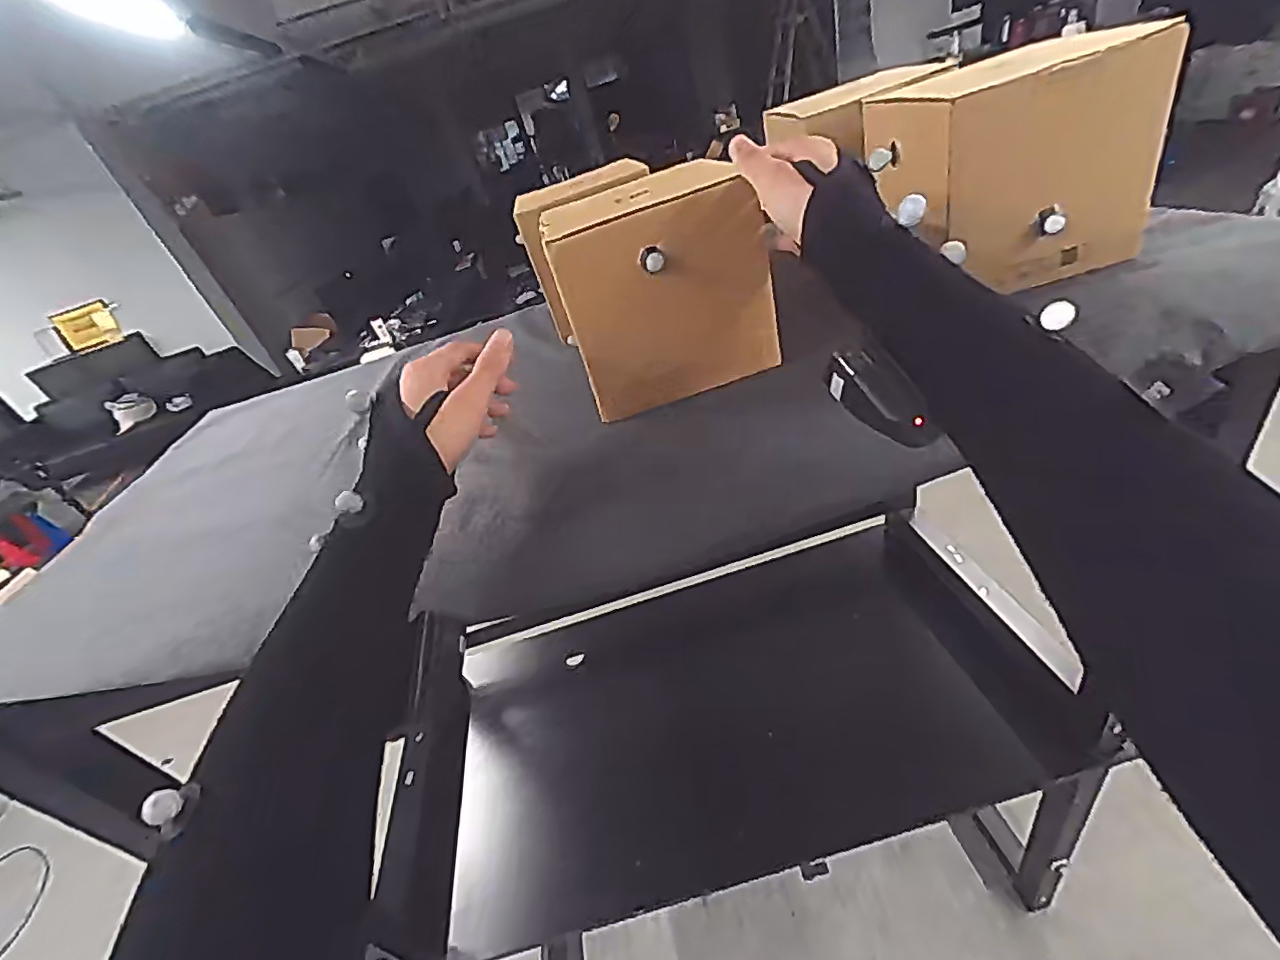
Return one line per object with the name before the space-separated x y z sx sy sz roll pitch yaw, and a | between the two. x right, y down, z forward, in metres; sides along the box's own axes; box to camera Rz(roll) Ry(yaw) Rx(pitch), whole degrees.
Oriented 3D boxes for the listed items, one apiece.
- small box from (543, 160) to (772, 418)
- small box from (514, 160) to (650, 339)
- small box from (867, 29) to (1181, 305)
small box | 0.018 -0.186 0.525 0.179 0.176 0.168 -19 34 1
small box | -0.058 -0.311 0.731 0.168 0.176 0.179 -19 35 1
small box | 0.327 -0.284 0.509 0.168 0.176 0.179 -15 34 7
